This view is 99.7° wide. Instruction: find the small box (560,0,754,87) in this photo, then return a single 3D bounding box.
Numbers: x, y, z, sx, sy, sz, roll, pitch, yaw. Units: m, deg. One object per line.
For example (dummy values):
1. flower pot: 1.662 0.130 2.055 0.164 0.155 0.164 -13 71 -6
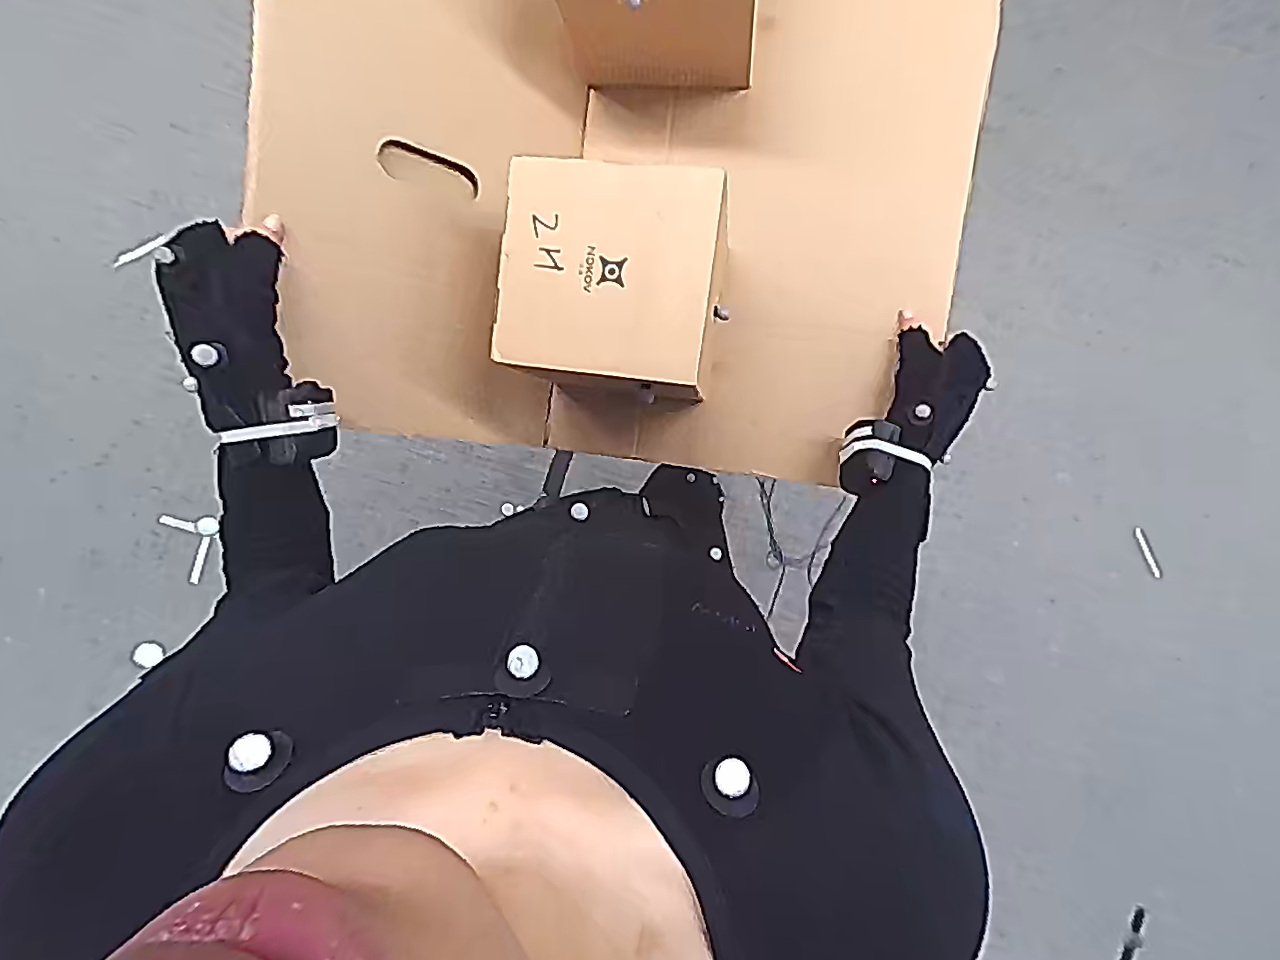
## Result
1. small box: 0.018 -0.493 0.490 0.179 0.176 0.168 7 95 8
